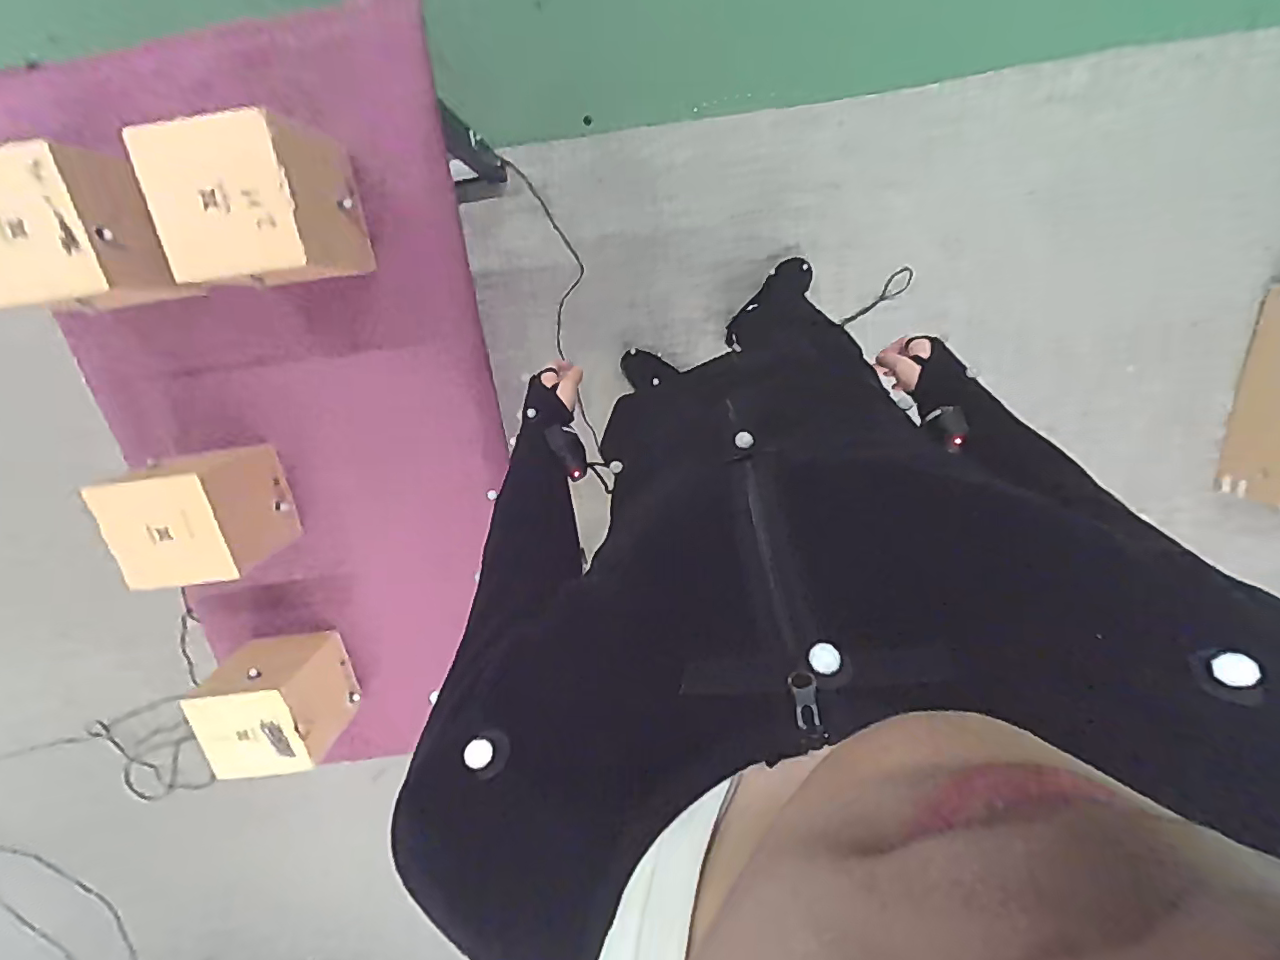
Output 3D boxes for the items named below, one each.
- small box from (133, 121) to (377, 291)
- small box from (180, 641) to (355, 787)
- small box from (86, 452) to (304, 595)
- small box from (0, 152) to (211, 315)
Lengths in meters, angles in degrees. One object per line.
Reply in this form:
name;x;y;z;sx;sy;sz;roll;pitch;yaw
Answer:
small box;-0.487;-0.345;0.714;0.179;0.176;0.168;-5;108;5
small box;-0.633;0.402;0.952;0.179;0.176;0.168;-8;106;4
small box;-0.679;0.061;0.850;0.179;0.176;0.168;-7;108;3
small box;-0.748;-0.318;0.732;0.179;0.176;0.168;-7;108;4
